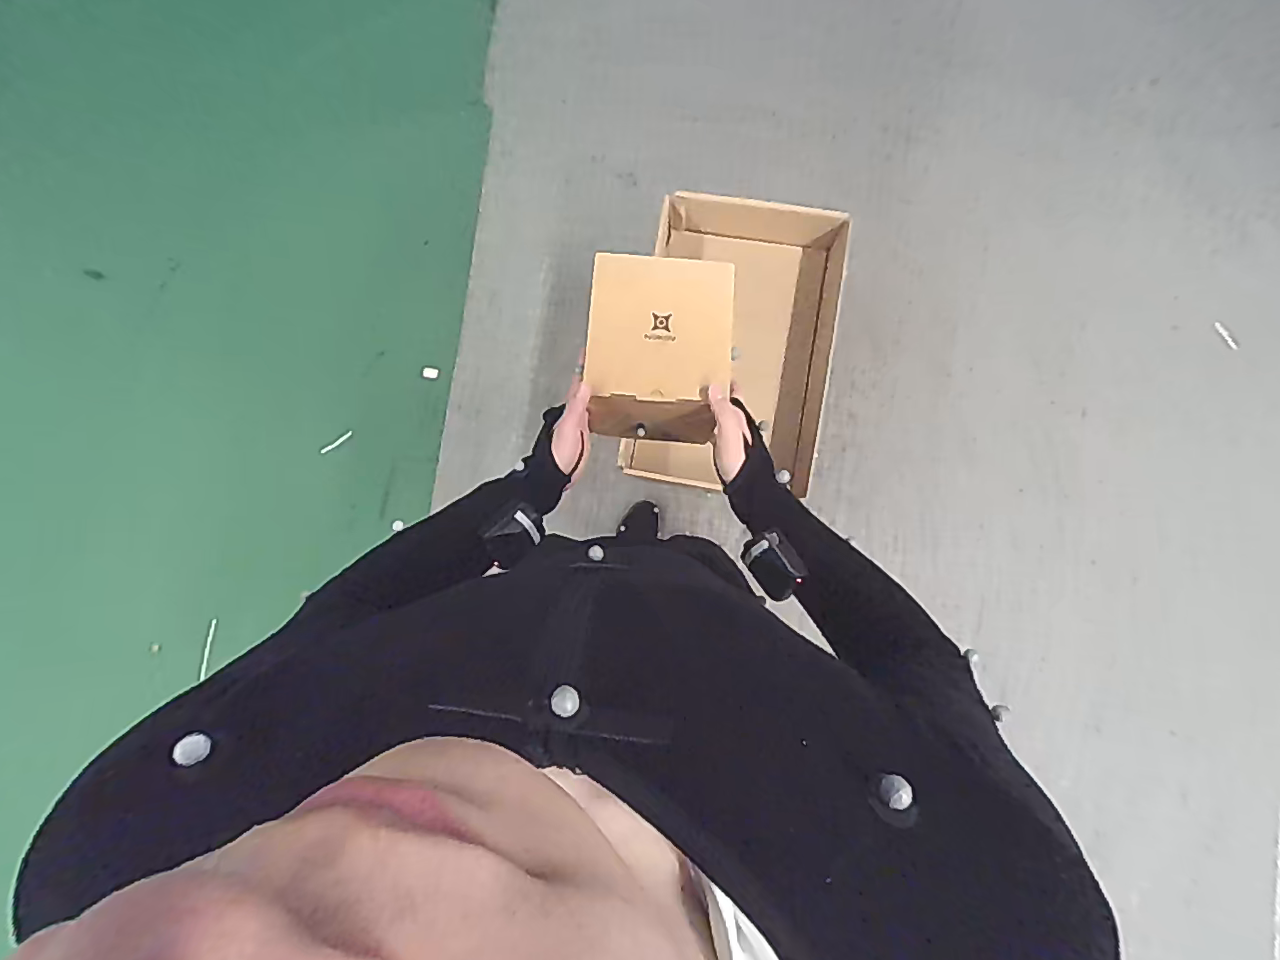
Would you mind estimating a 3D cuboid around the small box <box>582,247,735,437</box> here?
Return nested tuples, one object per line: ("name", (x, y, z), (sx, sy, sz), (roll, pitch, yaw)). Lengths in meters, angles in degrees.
("small box", (0.019, -0.164, 0.688), (0.168, 0.176, 0.179), (4, 81, -1))
